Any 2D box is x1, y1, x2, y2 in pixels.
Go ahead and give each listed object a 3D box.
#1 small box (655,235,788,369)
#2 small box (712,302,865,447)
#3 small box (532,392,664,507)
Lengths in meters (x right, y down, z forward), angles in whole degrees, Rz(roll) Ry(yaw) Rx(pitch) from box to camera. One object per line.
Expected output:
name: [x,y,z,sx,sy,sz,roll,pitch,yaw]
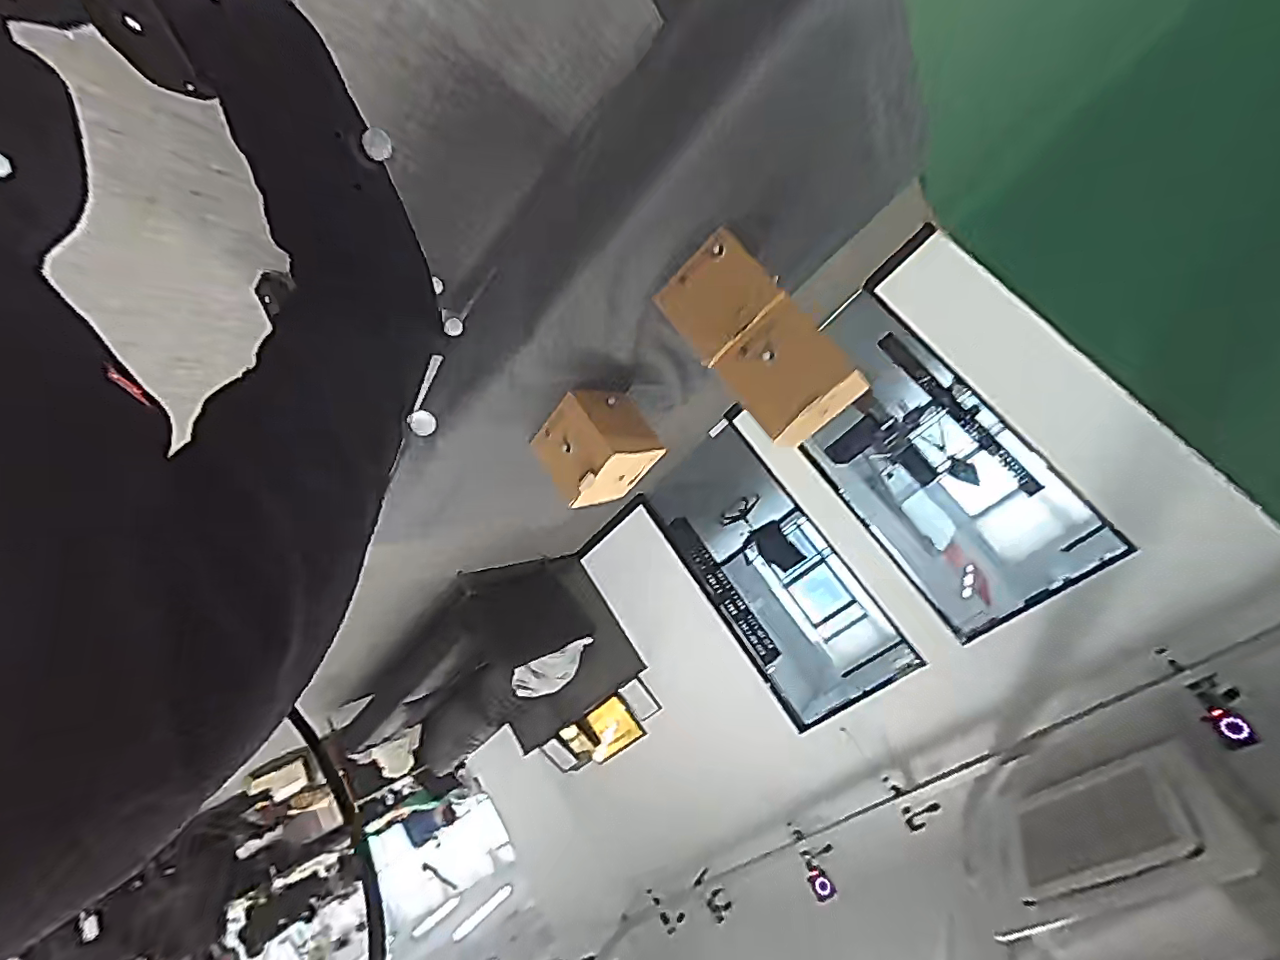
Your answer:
small box: [0.156,-0.302,0.968,0.168,0.176,0.179,-42,162,20]
small box: [0.256,-0.175,0.930,0.168,0.176,0.179,-43,160,22]
small box: [-0.091,-0.068,1.120,0.179,0.176,0.168,-8,148,-53]
